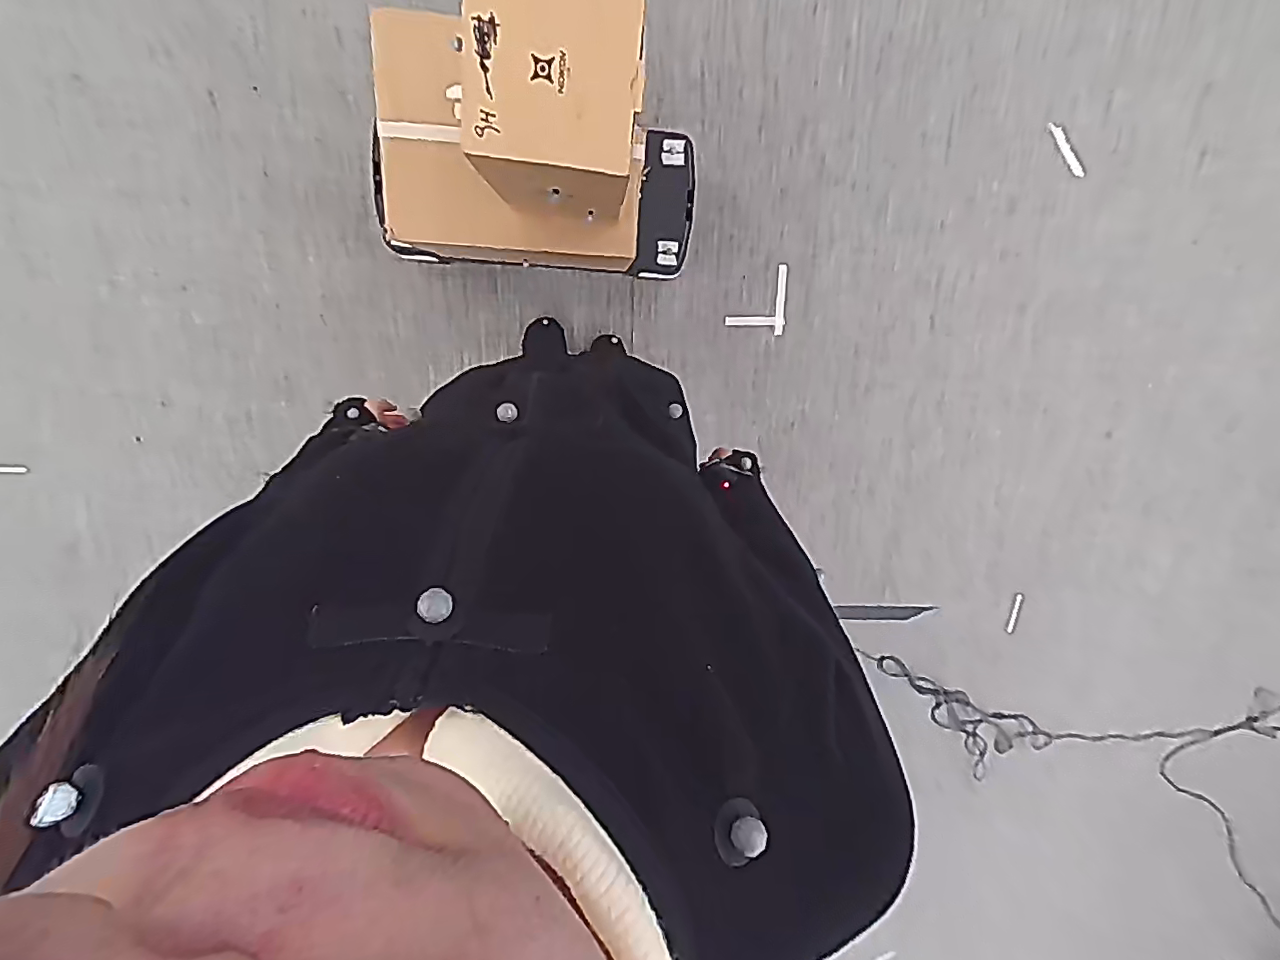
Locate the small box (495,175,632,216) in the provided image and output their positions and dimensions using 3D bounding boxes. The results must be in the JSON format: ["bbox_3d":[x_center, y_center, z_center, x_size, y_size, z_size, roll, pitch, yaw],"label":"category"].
[{"bbox_3d":[-0.095,-0.477,0.750,0.179,0.176,0.168,6,107,-5],"label":"small box"}]

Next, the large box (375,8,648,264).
[{"bbox_3d":[-0.196,-0.569,0.971,0.408,0.320,0.320,2,107,-4],"label":"large box"}]

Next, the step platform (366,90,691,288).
[{"bbox_3d":[-0.230,-0.626,1.200,0.684,0.204,0.286,8,107,-6],"label":"step platform"}]

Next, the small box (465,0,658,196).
[{"bbox_3d":[-0.084,-0.426,0.595,0.179,0.176,0.168,5,106,-7],"label":"small box"}]
